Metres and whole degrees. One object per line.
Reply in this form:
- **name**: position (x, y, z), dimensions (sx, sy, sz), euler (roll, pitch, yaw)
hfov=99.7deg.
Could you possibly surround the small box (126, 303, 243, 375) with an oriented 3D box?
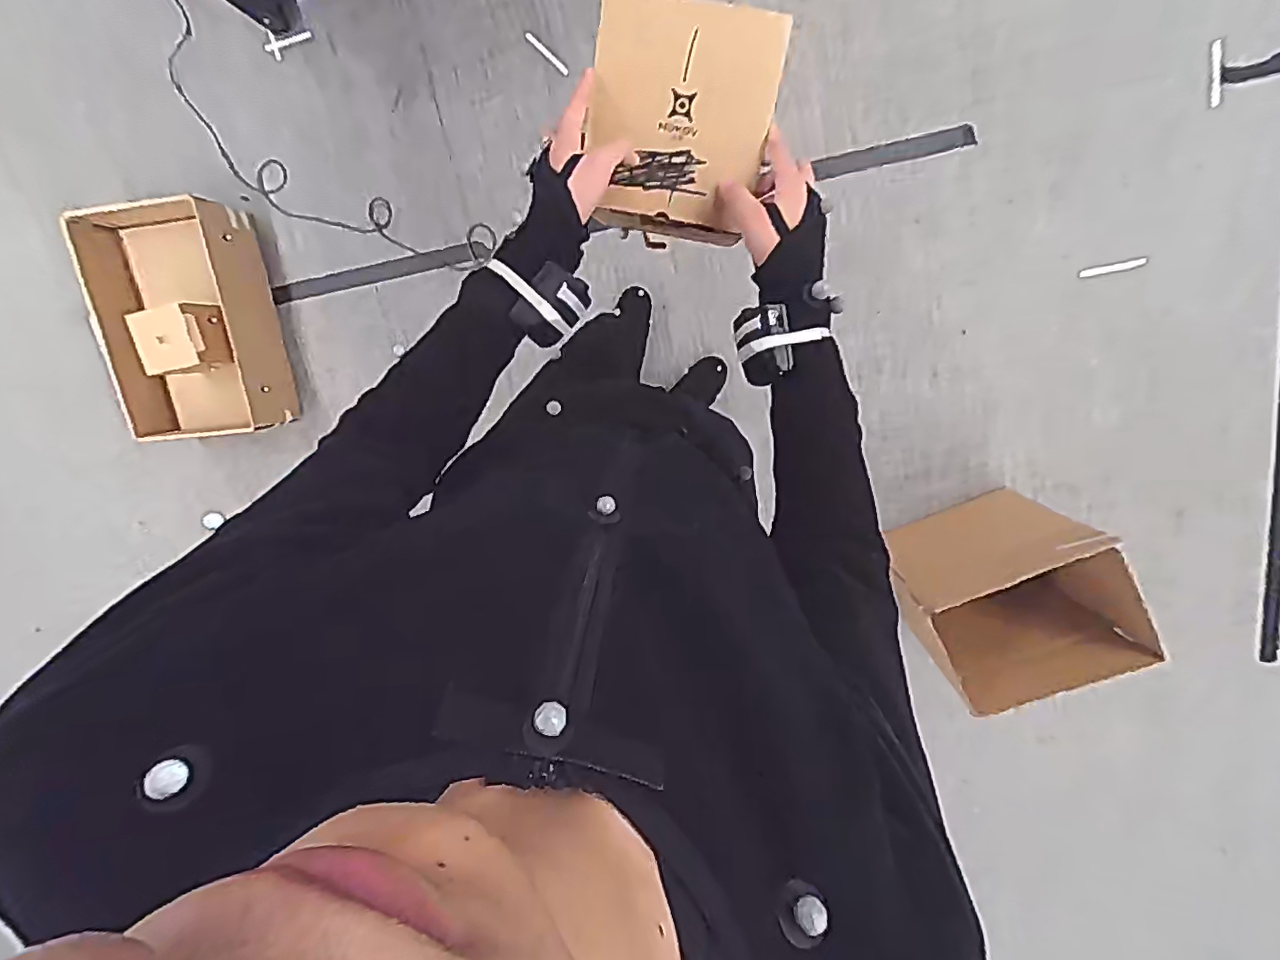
- **small box**: position (-1.271, -0.397, 1.530), dimensions (0.179, 0.176, 0.168), euler (-9, 102, 8)

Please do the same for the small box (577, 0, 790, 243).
- **small box**: position (0.040, -0.355, 0.559), dimensions (0.168, 0.176, 0.179), euler (10, 109, 0)
